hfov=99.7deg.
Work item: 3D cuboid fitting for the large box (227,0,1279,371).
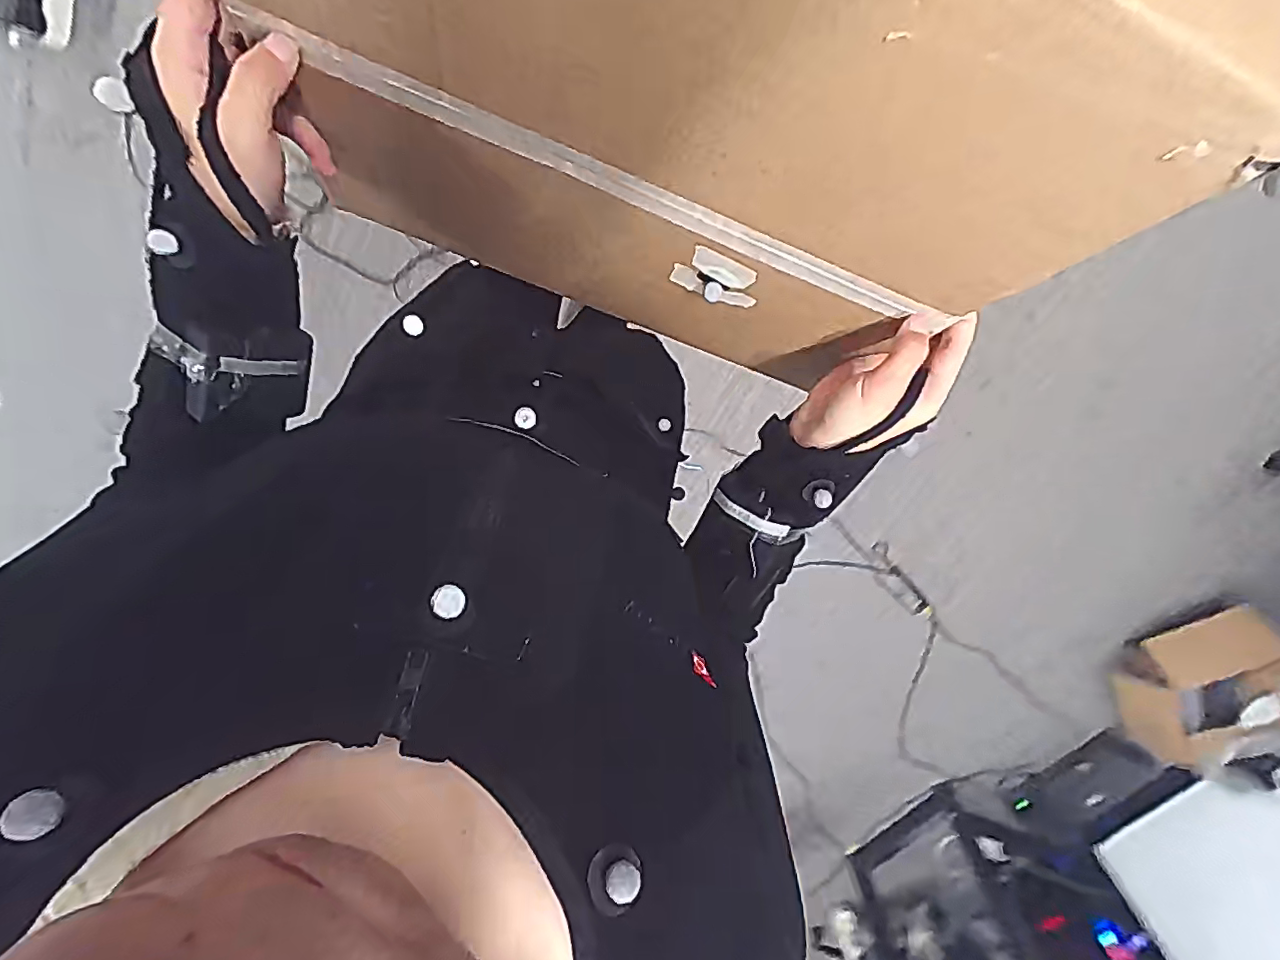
[{"bbox_3d":[0.029,-0.309,0.317,0.408,0.320,0.320,16,81,-10],"label":"large box"}]
